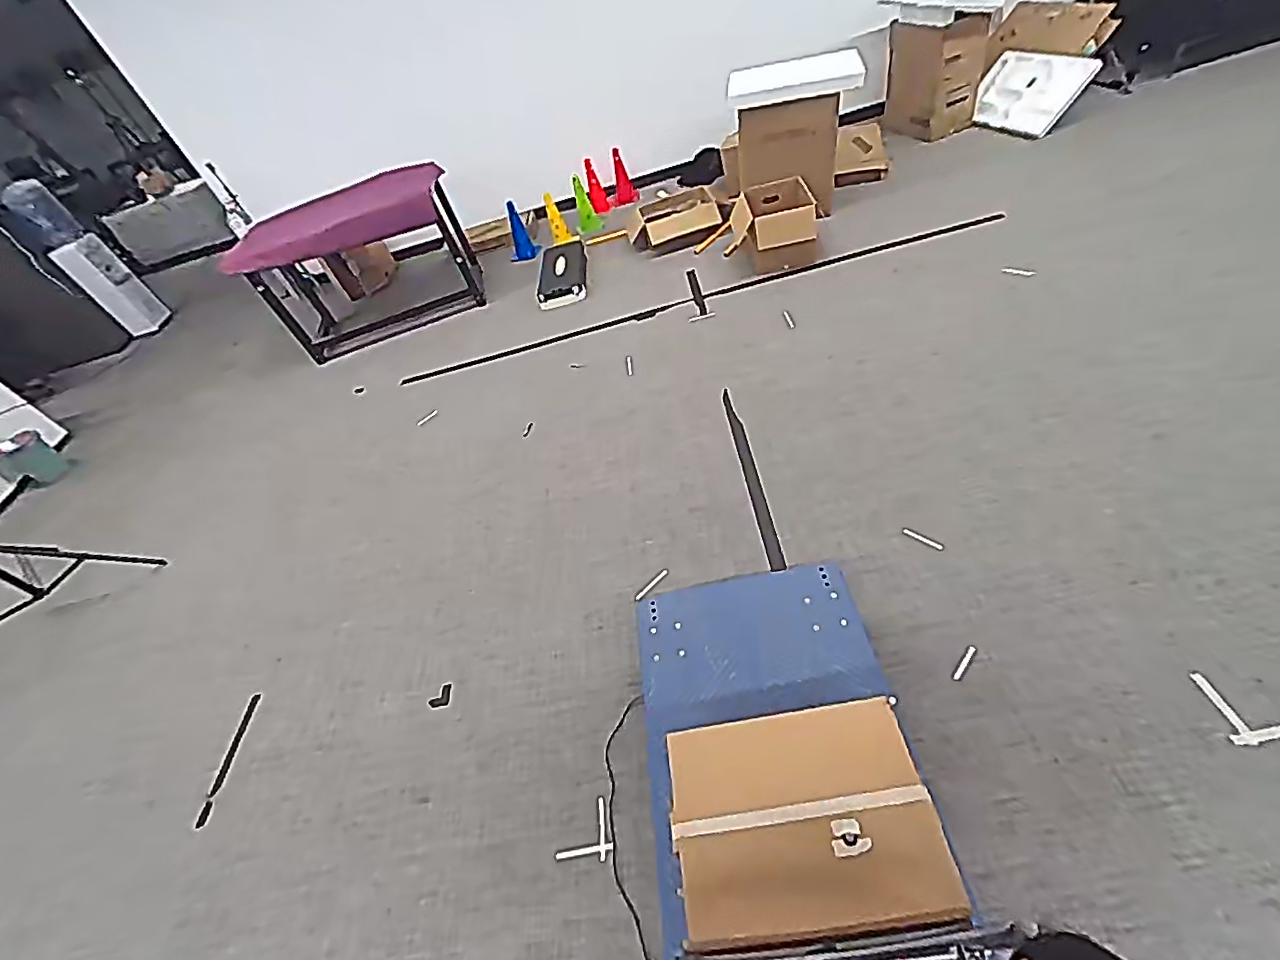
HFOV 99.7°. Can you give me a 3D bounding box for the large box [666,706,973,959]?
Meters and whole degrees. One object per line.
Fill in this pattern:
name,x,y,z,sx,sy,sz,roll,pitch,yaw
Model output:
large box,0.285,0.649,0.965,0.408,0.320,0.320,-13,46,6
